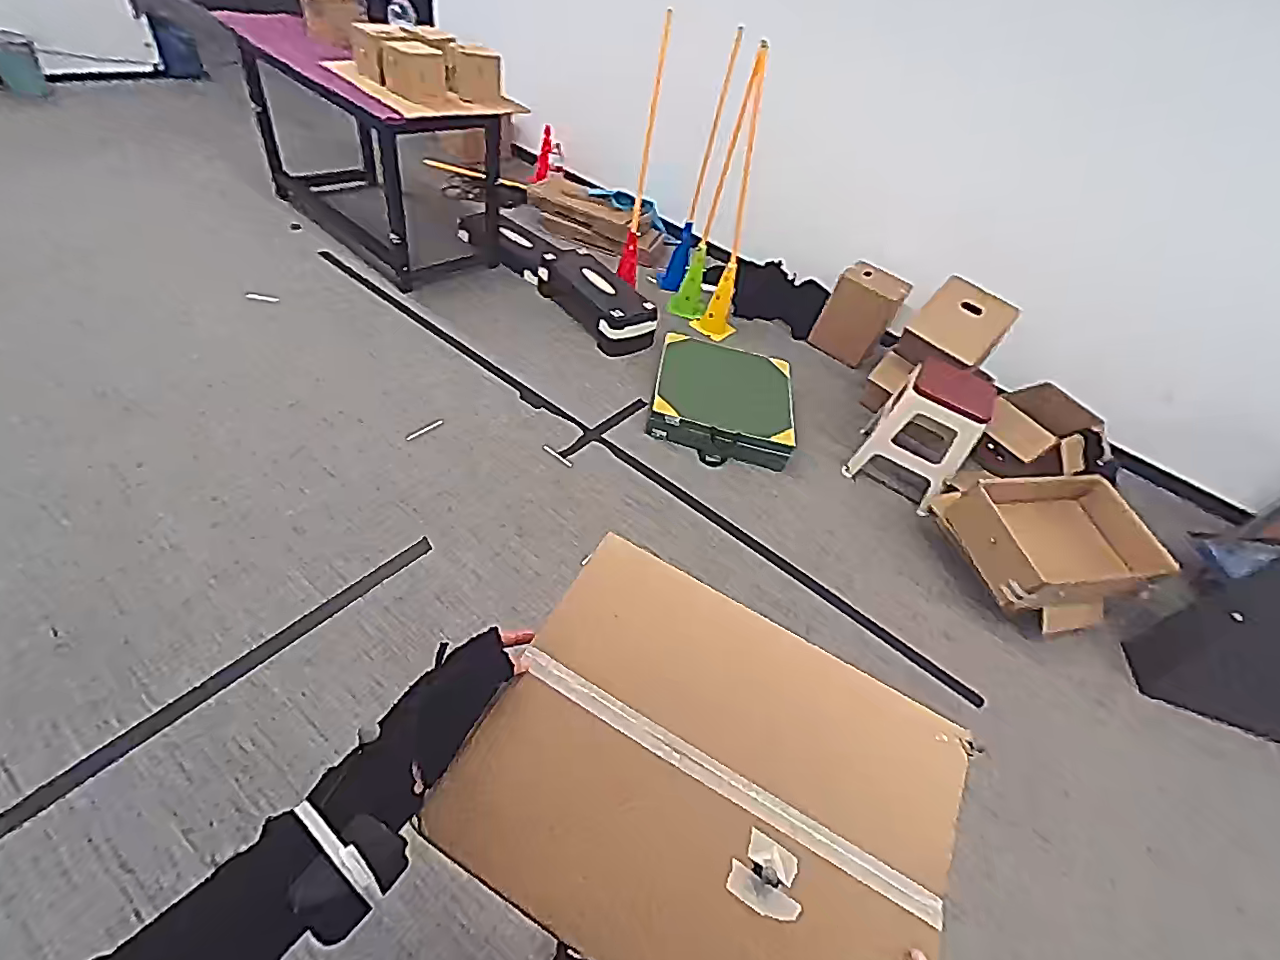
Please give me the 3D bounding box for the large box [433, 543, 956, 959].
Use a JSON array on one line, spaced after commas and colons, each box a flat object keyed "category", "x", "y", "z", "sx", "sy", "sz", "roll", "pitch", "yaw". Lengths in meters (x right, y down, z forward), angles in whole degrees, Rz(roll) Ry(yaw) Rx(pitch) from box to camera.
[{"category": "large box", "x": 0.050, "y": 0.343, "z": 0.611, "sx": 0.408, "sy": 0.320, "sz": 0.320, "roll": 28, "pitch": 58, "yaw": 10}]
